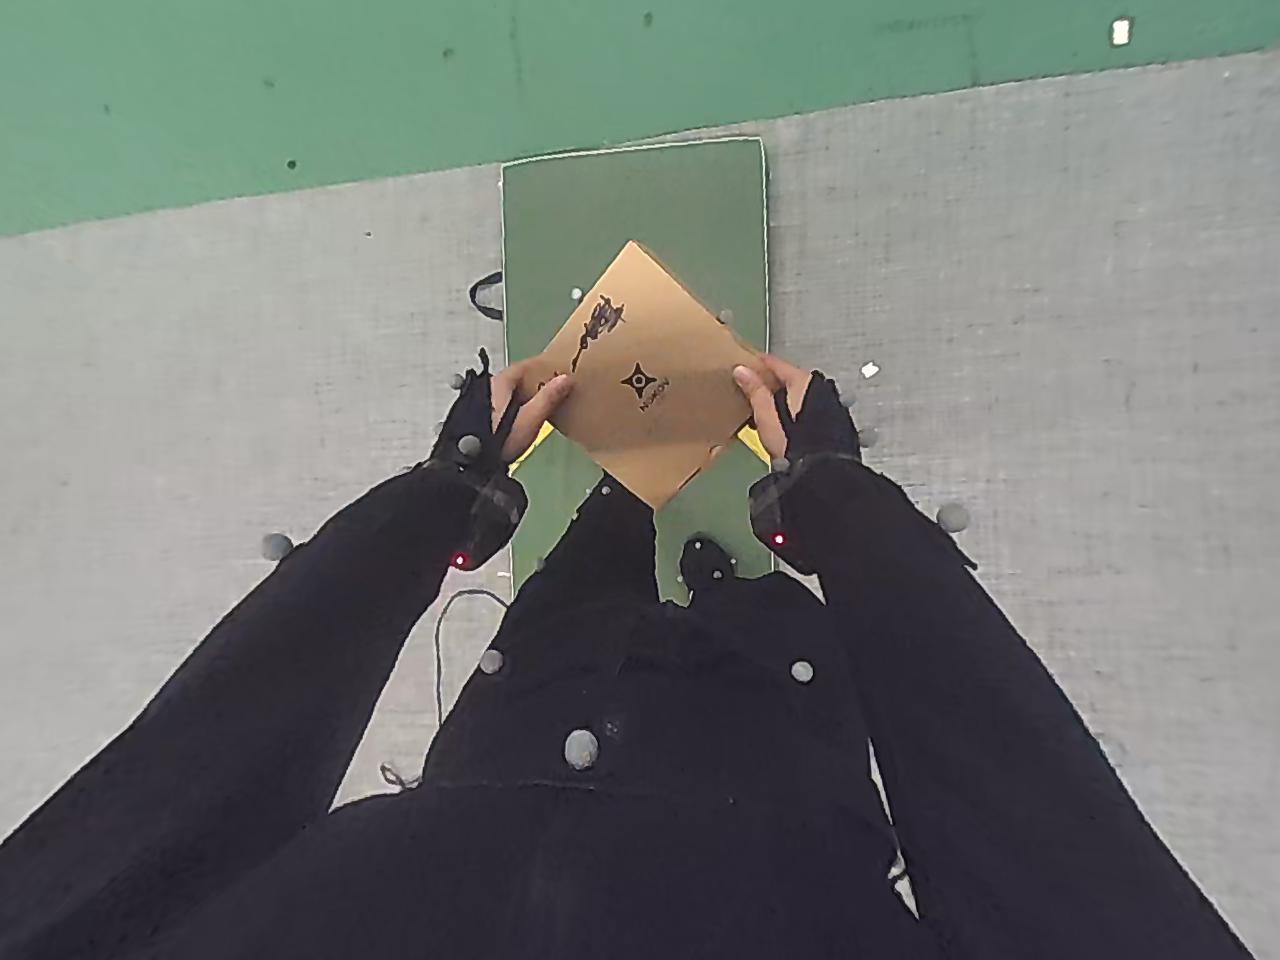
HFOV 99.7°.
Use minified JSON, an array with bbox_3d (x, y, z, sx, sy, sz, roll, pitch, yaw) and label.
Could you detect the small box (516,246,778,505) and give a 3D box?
[{"bbox_3d":[0.011,-0.112,0.549,0.179,0.176,0.168,40,109,-10],"label":"small box"}]
